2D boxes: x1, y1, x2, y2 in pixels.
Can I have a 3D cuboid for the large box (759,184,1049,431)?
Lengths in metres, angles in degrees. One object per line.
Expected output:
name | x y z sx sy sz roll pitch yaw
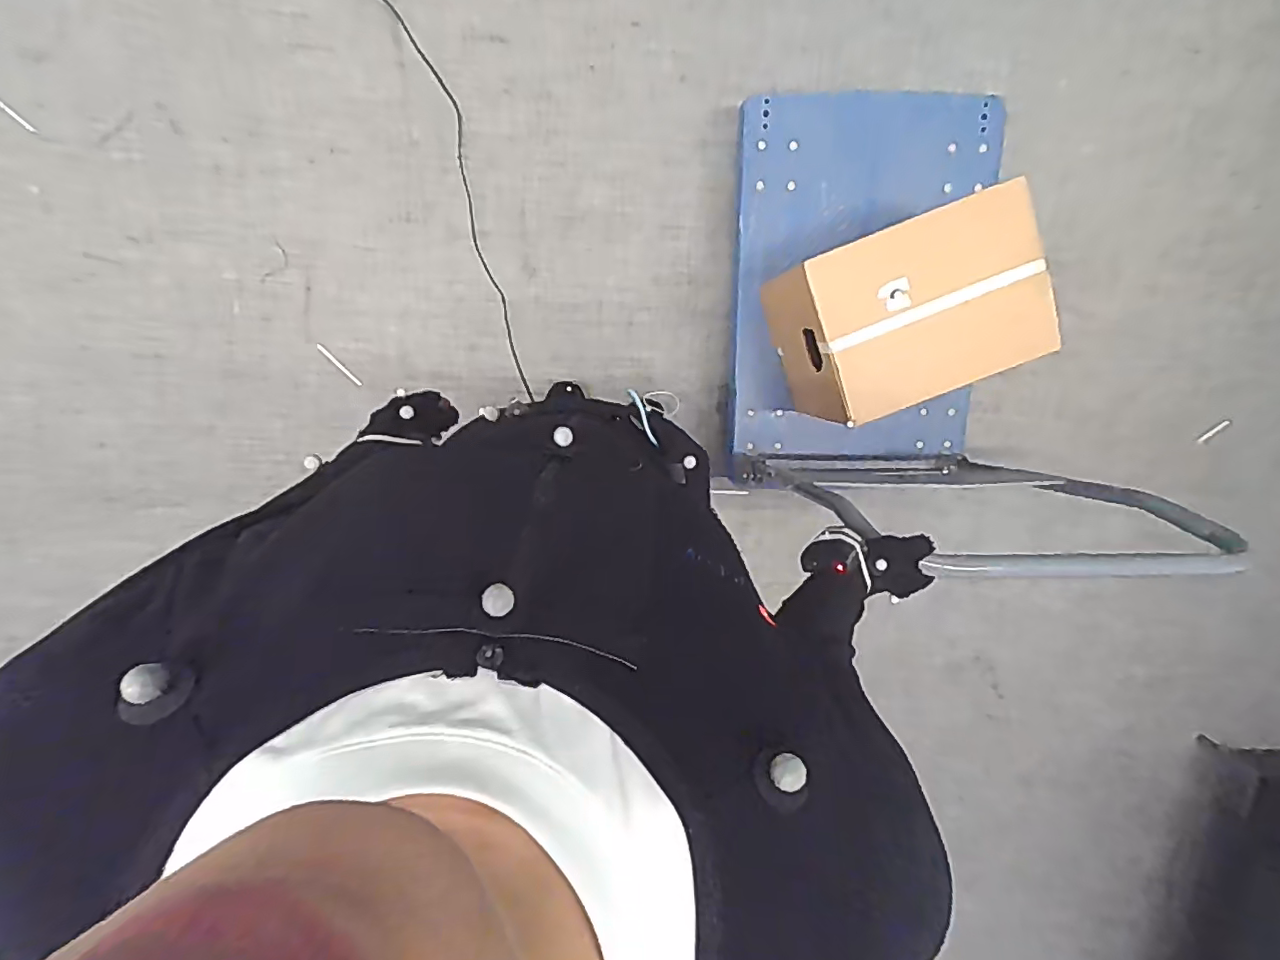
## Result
large box | 0.509 -0.333 1.109 0.408 0.320 0.320 -20 102 3
